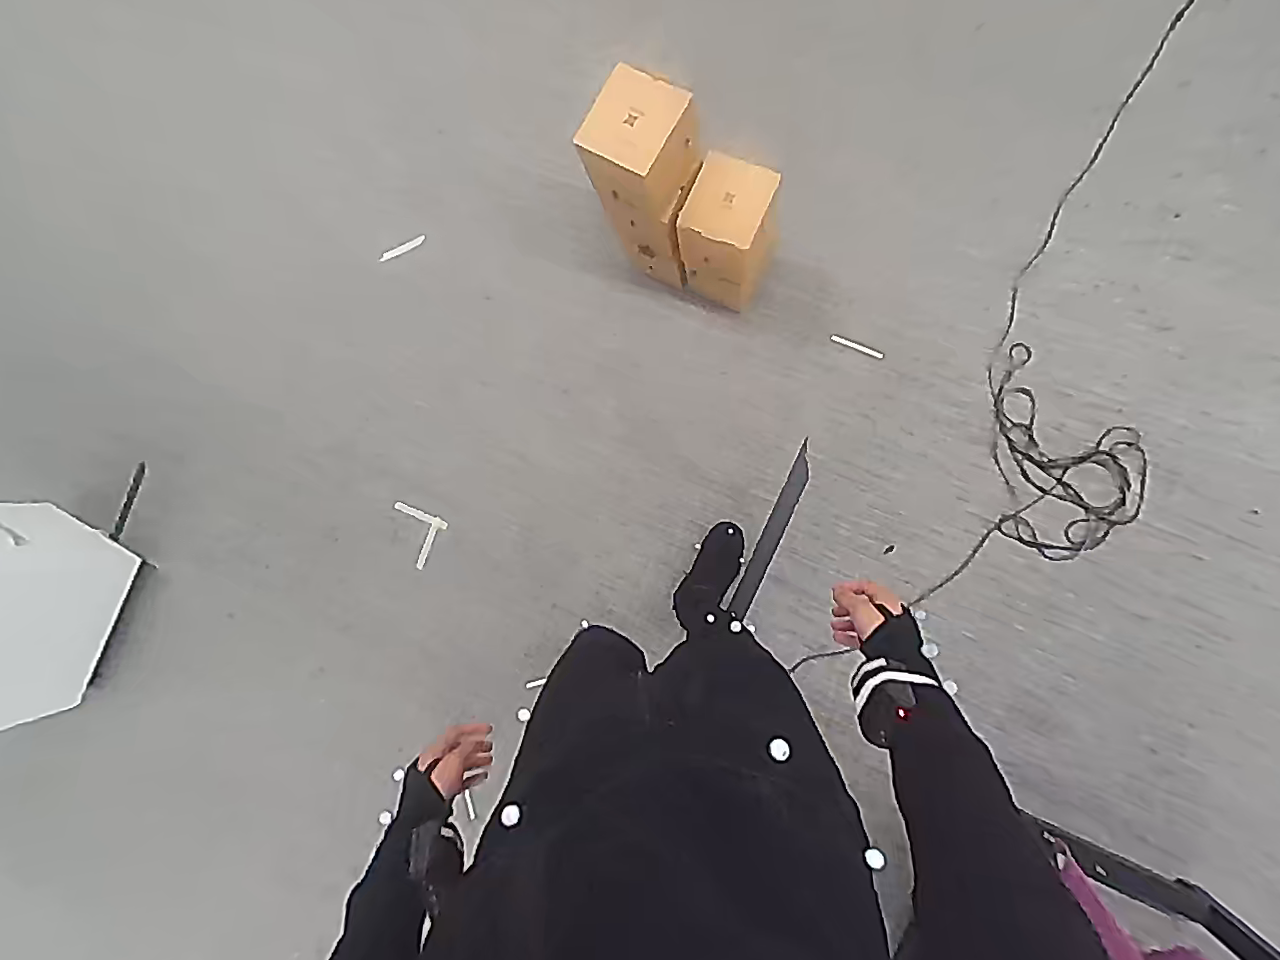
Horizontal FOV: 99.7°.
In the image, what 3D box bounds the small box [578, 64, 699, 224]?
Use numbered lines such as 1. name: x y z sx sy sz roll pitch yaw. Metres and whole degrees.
1. small box: 0.006 -0.655 1.072 0.168 0.176 0.179 32 93 10
